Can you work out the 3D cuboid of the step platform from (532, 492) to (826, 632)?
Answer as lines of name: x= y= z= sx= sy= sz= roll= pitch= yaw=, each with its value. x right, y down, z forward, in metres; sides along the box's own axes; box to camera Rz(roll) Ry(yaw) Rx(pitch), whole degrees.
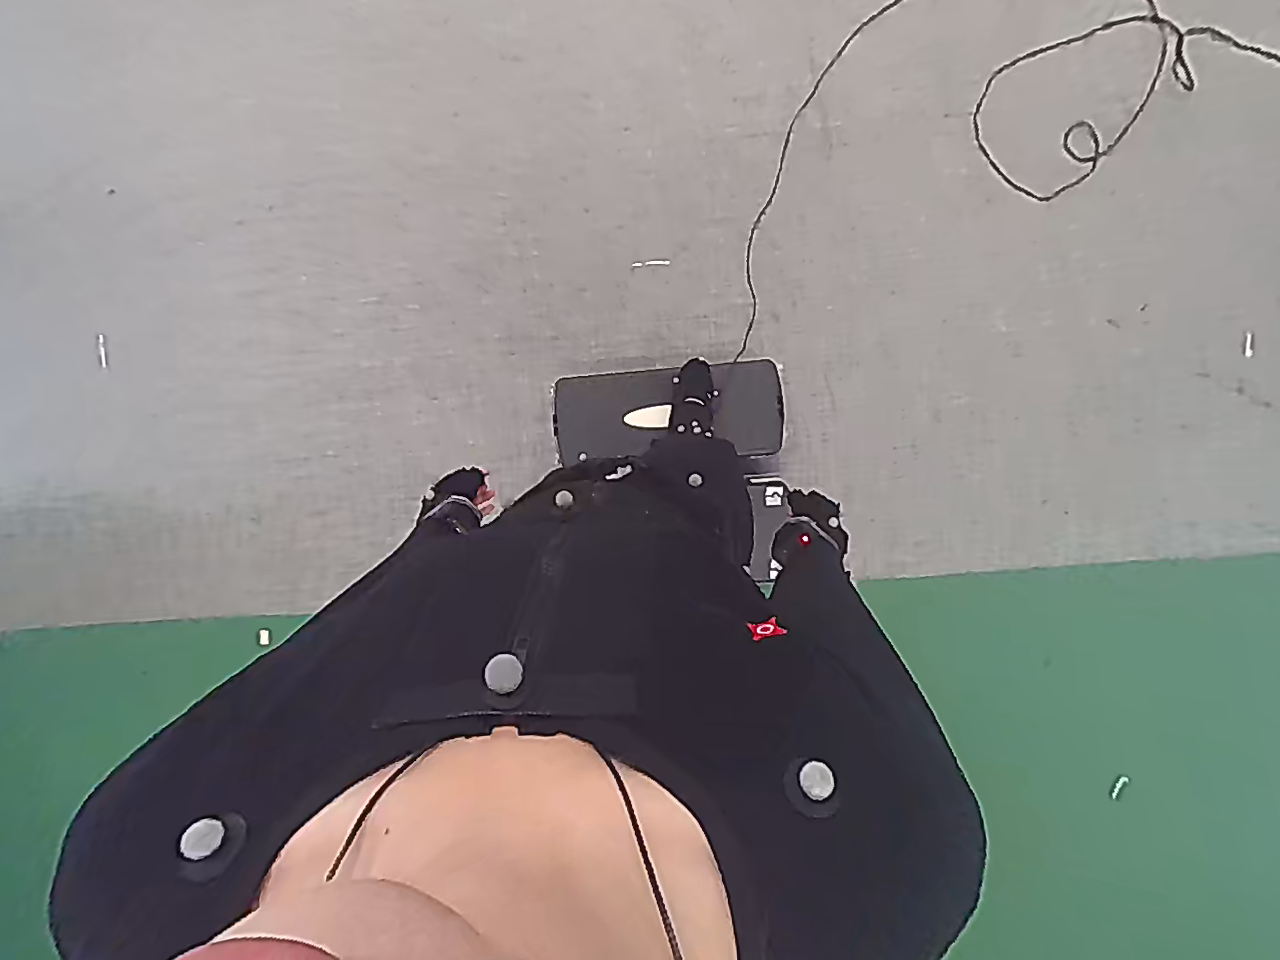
step platform: x=0.090 y=0.194 z=1.348 sx=0.684 sy=0.204 sz=0.286 roll=-4 pitch=93 yaw=2
